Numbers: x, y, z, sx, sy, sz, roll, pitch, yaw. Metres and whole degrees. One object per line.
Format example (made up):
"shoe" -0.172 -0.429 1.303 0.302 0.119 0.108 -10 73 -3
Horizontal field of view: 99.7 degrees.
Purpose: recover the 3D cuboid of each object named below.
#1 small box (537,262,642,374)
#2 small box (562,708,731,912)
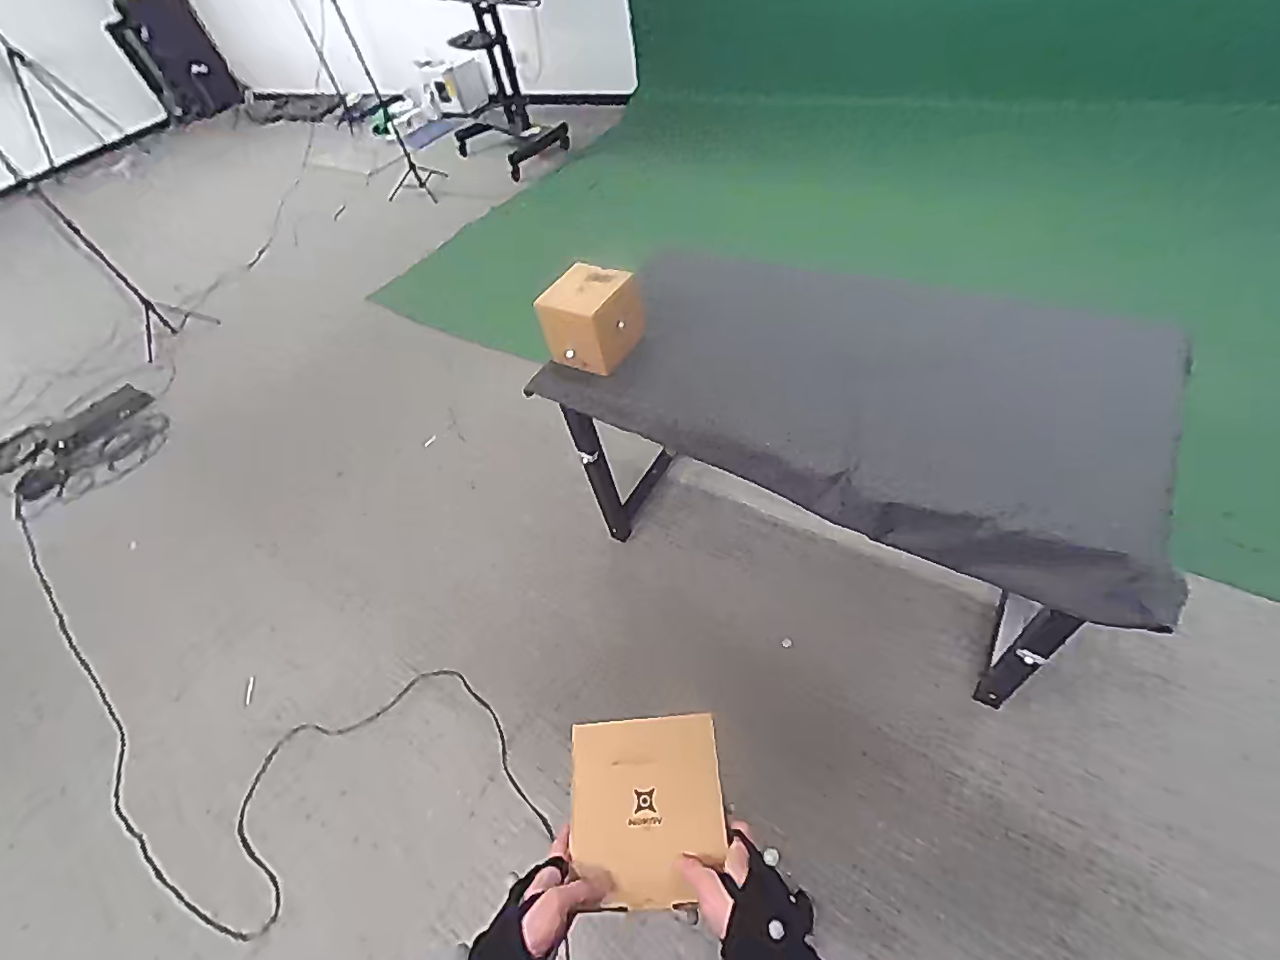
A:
"small box" -0.108 -0.381 1.269 0.168 0.176 0.179 21 59 27
"small box" 0.012 0.382 0.624 0.168 0.176 0.179 -6 51 4
